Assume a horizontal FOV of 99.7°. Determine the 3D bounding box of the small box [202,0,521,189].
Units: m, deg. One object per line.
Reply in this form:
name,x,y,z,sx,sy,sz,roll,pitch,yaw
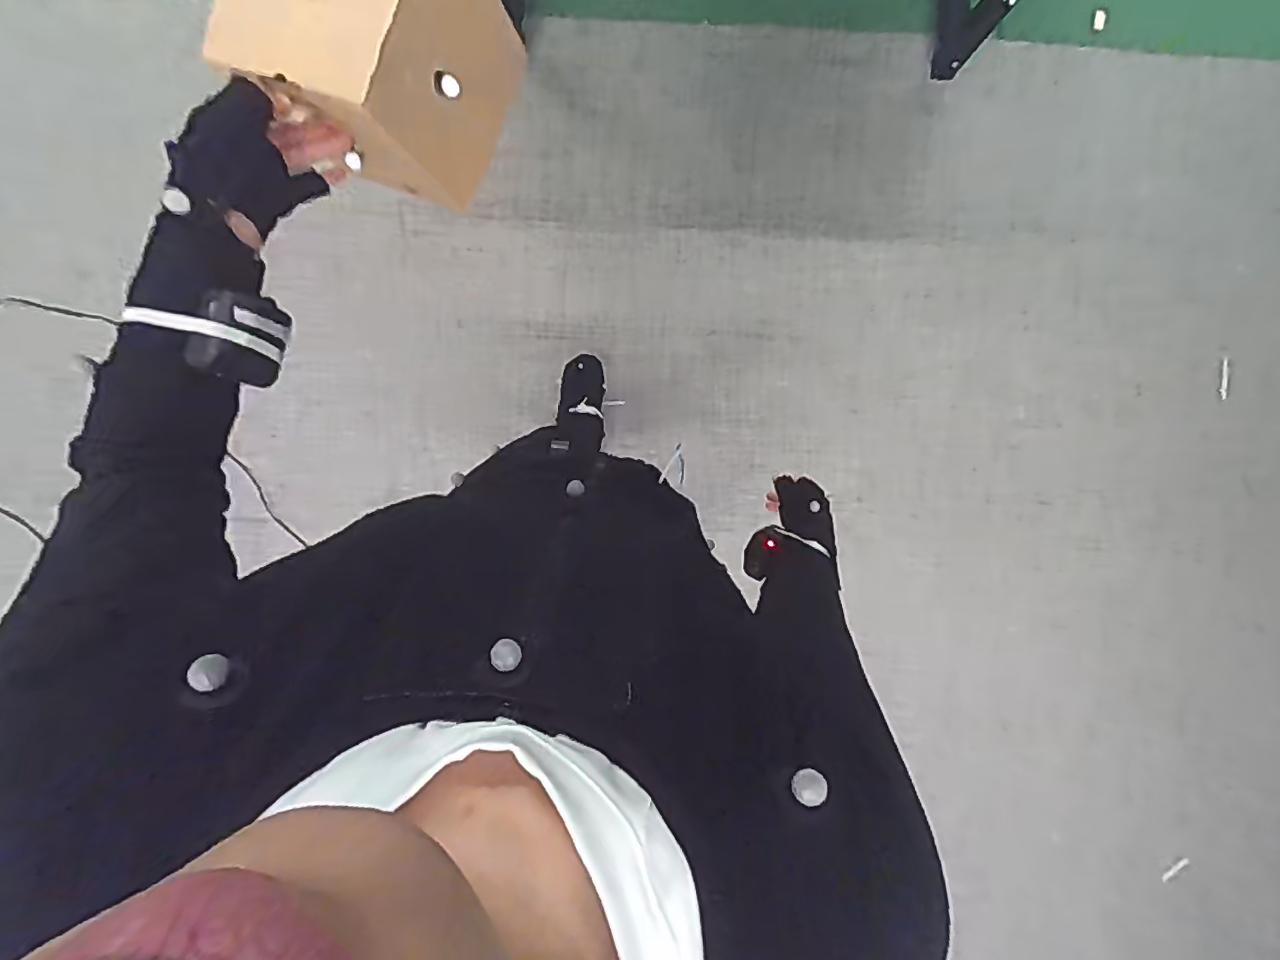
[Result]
small box,-0.231,-0.403,0.490,0.168,0.176,0.179,24,96,9
